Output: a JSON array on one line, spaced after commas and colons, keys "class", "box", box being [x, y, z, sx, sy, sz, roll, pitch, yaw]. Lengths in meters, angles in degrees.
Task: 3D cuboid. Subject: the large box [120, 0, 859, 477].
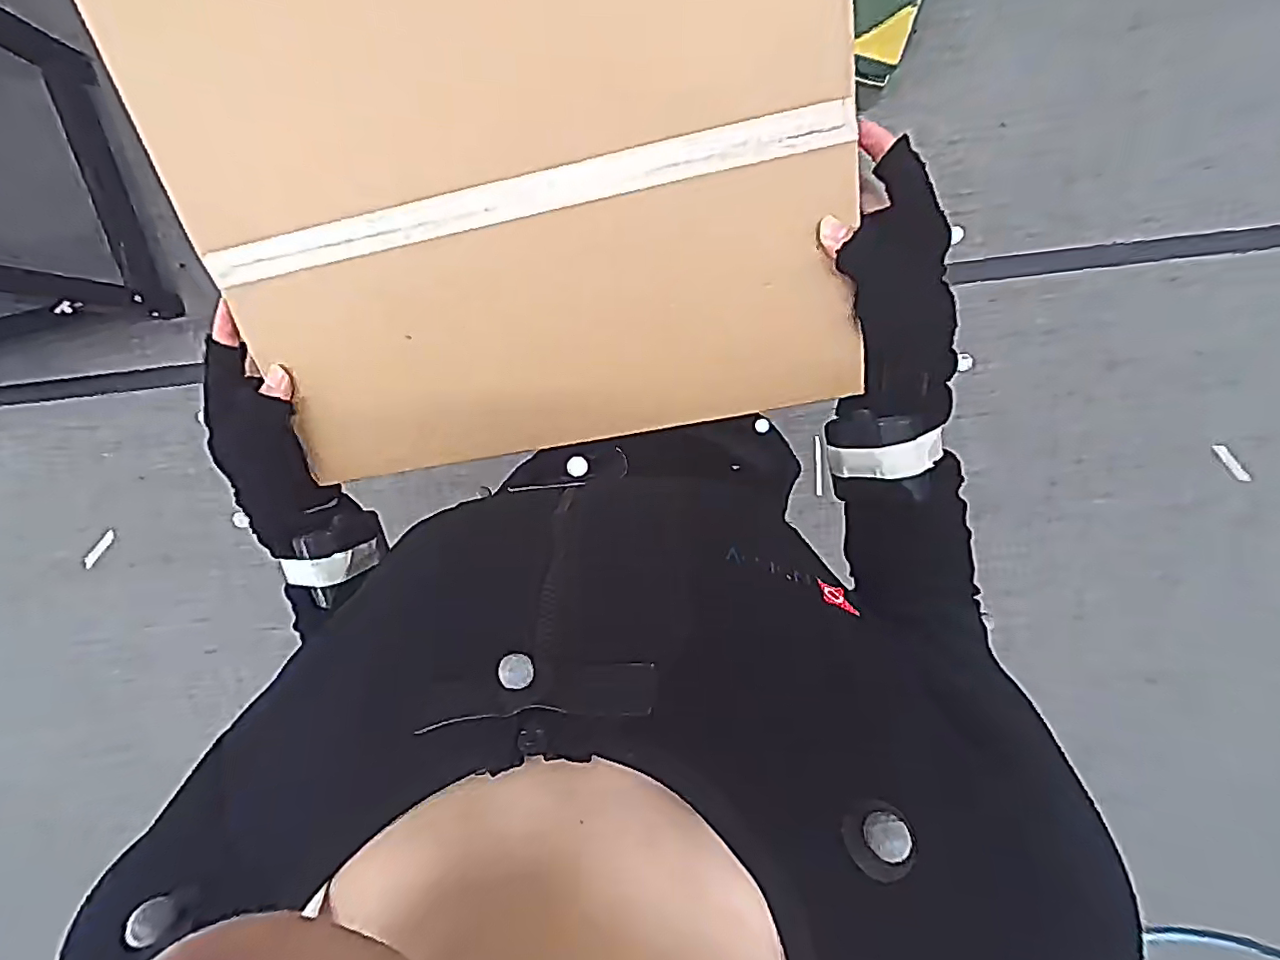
[{"class": "large box", "box": [-0.067, -0.231, 0.472, 0.408, 0.320, 0.320, -9, 115, 8]}]
